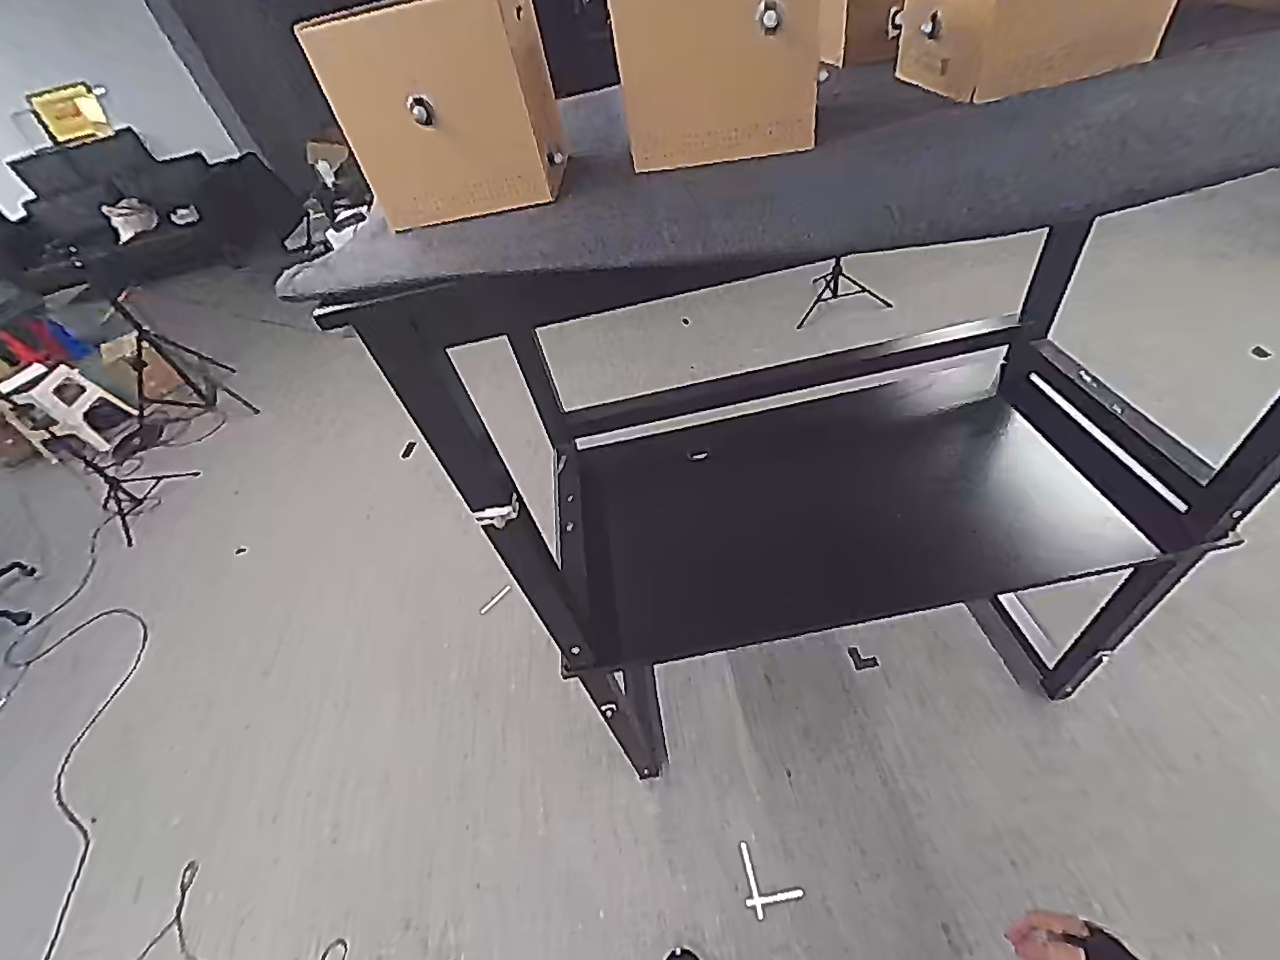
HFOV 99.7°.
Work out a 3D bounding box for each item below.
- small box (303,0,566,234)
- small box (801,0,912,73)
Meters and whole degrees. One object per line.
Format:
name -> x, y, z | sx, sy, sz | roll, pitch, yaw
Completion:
small box -> -0.182, -0.375, 0.549 | 0.179, 0.176, 0.168 | -8, 44, 7
small box -> 0.313, -0.651, 0.696 | 0.168, 0.176, 0.179 | -13, 45, 3
